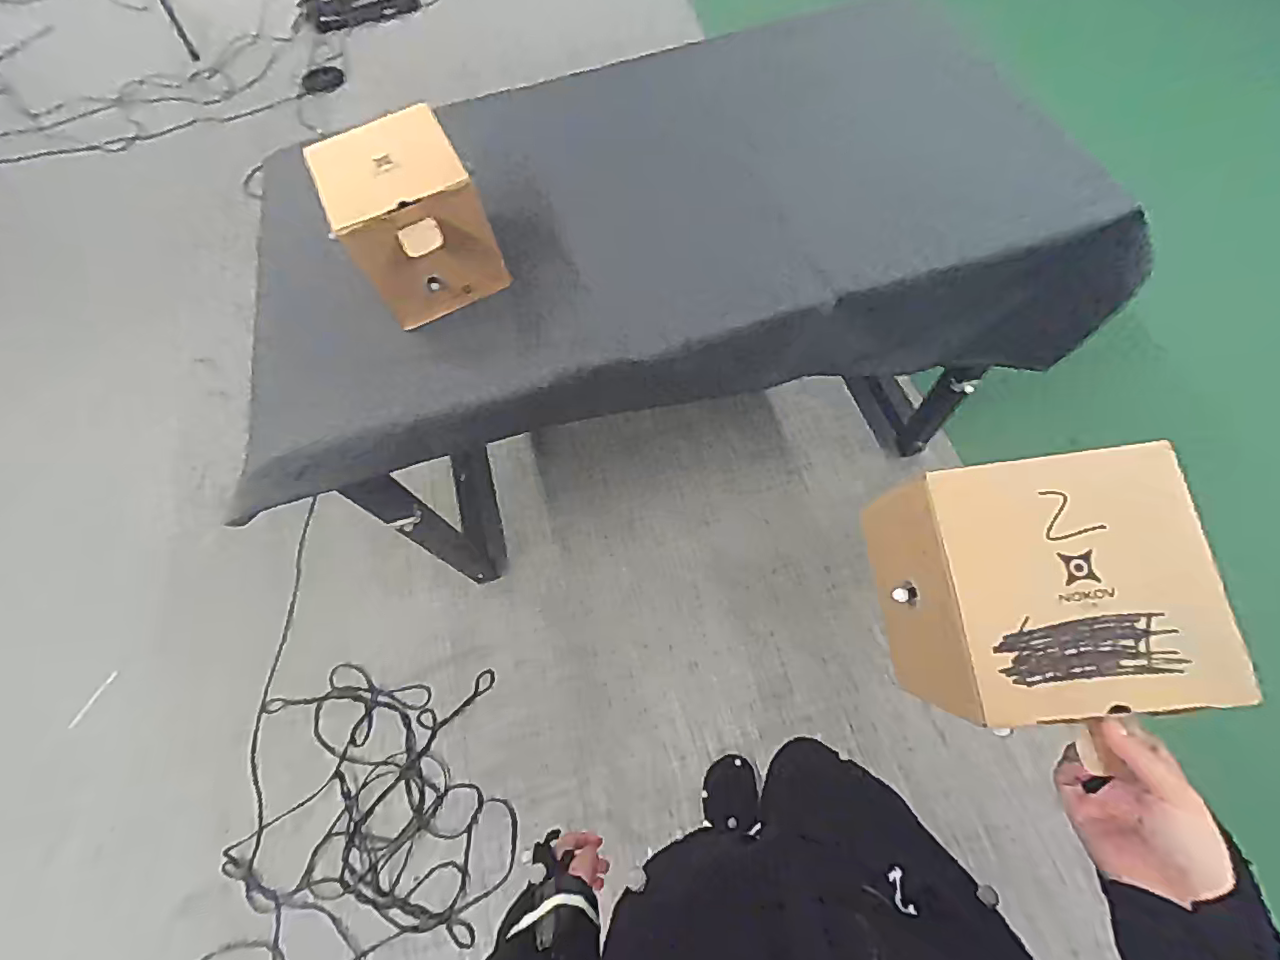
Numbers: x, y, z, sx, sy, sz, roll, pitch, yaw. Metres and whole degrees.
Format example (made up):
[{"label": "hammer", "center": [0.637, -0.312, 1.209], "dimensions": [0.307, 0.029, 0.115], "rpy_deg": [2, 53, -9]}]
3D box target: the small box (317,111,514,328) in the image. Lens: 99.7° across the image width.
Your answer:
[{"label": "small box", "center": [-0.290, -0.340, 0.723], "dimensions": [0.168, 0.176, 0.179], "rpy_deg": [-26, 66, -8]}]
